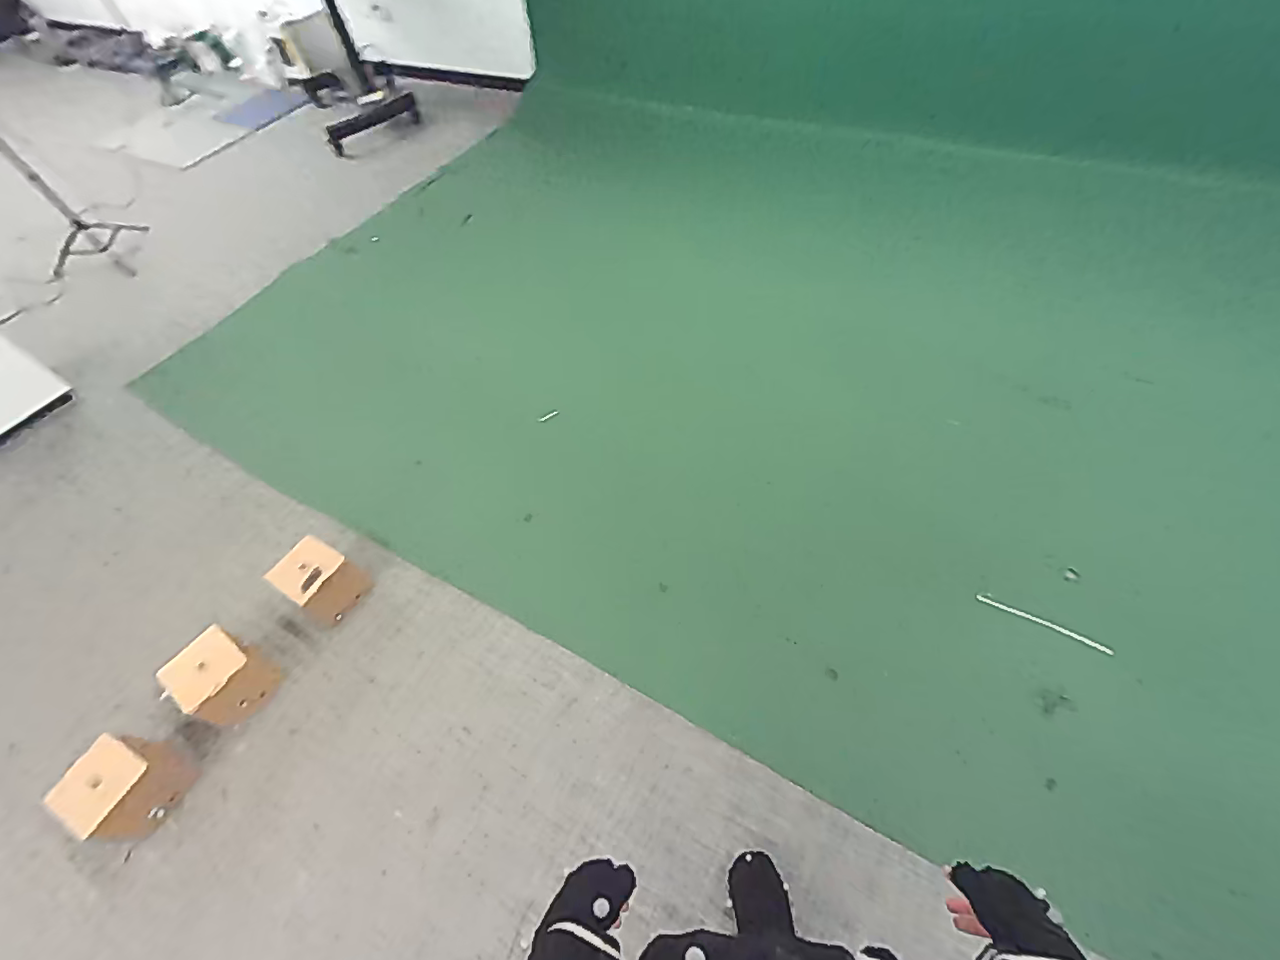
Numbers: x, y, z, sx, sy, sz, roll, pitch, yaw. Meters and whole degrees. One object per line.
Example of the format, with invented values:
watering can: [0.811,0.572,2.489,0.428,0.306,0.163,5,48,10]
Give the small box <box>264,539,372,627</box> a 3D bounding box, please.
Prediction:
small box: [-0.929,0.307,1.580,0.179,0.176,0.168,24,60,22]

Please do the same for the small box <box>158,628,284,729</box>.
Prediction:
small box: [-1.104,0.532,1.436,0.179,0.176,0.168,29,62,23]

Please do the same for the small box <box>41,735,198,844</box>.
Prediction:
small box: [-1.236,0.744,1.297,0.179,0.176,0.168,21,61,17]
